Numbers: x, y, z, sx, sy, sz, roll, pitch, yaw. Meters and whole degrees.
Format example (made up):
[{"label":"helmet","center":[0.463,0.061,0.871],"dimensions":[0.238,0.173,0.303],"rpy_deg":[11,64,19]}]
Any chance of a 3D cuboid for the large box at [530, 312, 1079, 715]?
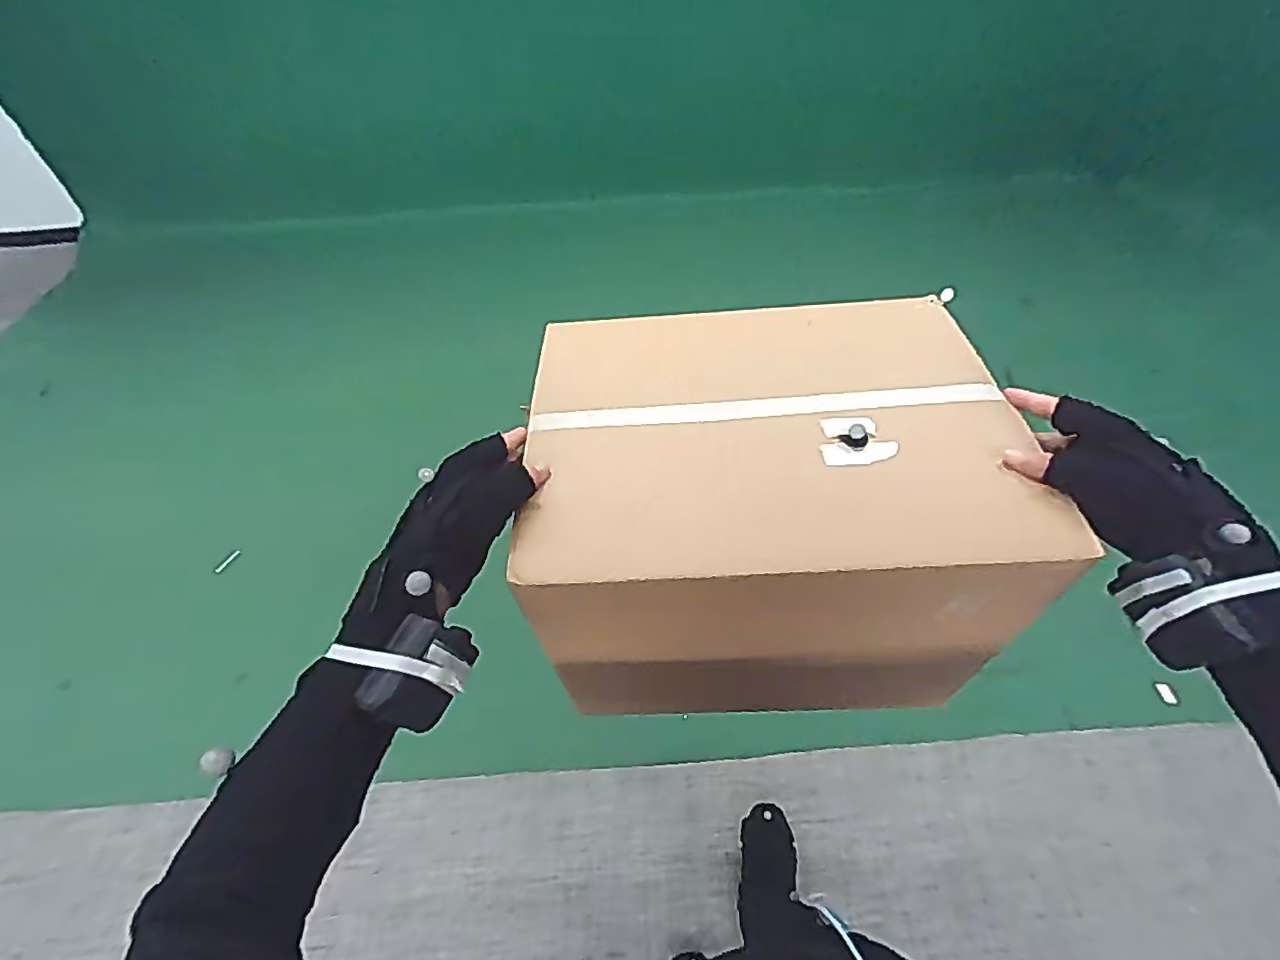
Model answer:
[{"label":"large box","center":[0.119,0.045,0.595],"dimensions":[0.408,0.320,0.320],"rpy_deg":[-3,50,2]}]
